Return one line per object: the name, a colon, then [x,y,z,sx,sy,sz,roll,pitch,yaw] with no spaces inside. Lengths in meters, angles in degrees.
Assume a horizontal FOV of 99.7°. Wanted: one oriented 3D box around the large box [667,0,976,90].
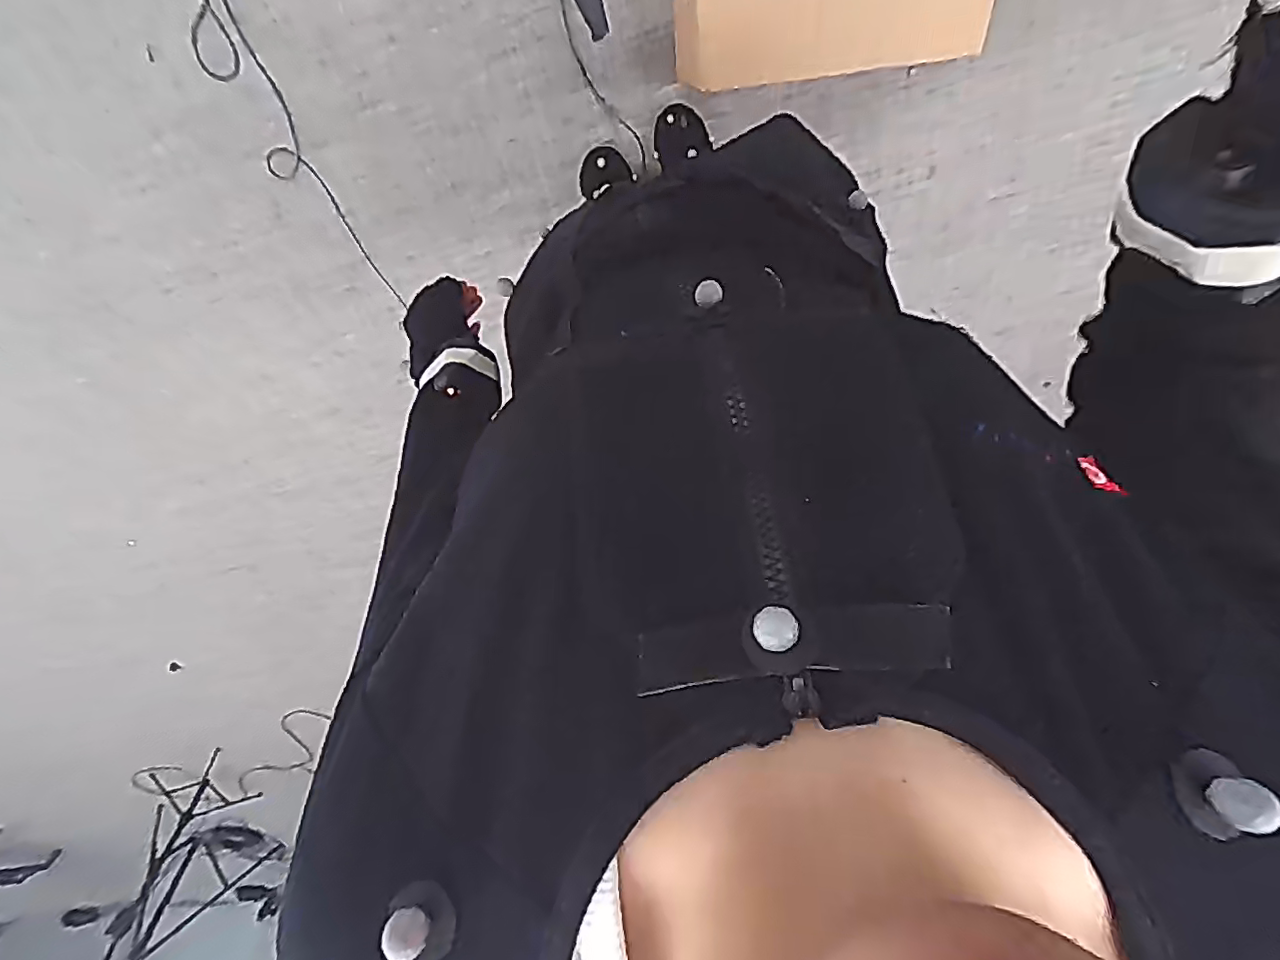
large box: [0.248,-0.804,0.802,0.408,0.320,0.320,-6,128,1]
